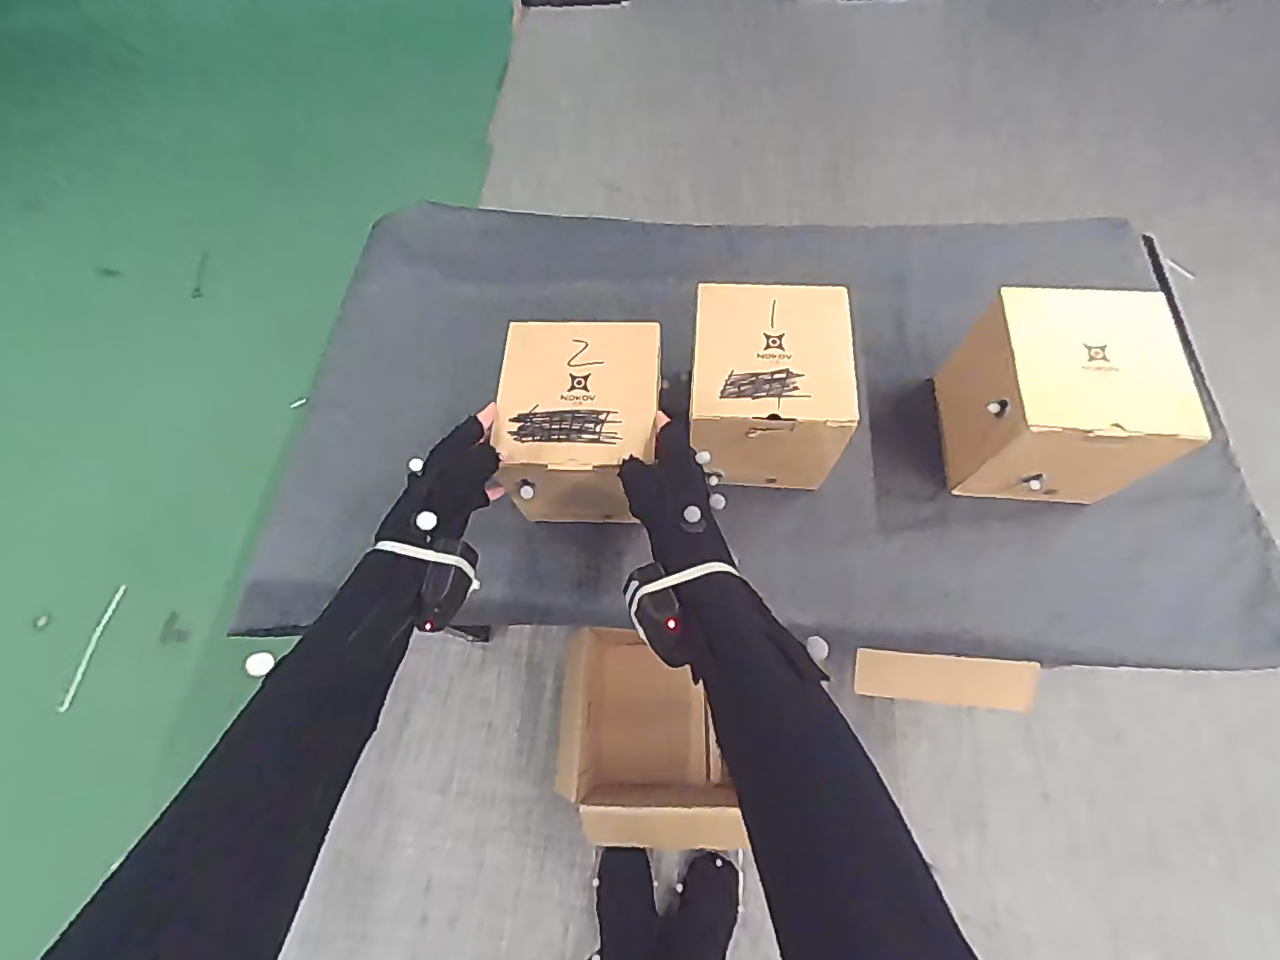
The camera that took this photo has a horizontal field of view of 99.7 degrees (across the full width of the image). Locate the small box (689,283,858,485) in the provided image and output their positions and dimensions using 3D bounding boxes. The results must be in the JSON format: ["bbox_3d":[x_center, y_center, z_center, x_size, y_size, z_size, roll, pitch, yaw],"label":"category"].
[{"bbox_3d":[0.146,-0.105,0.638,0.168,0.176,0.179,4,66,5],"label":"small box"}]

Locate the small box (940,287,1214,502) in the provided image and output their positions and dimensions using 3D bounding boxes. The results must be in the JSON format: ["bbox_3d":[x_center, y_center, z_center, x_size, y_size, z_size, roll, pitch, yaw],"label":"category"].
[{"bbox_3d":[0.465,-0.091,0.614,0.168,0.176,0.179,4,67,5],"label":"small box"}]
